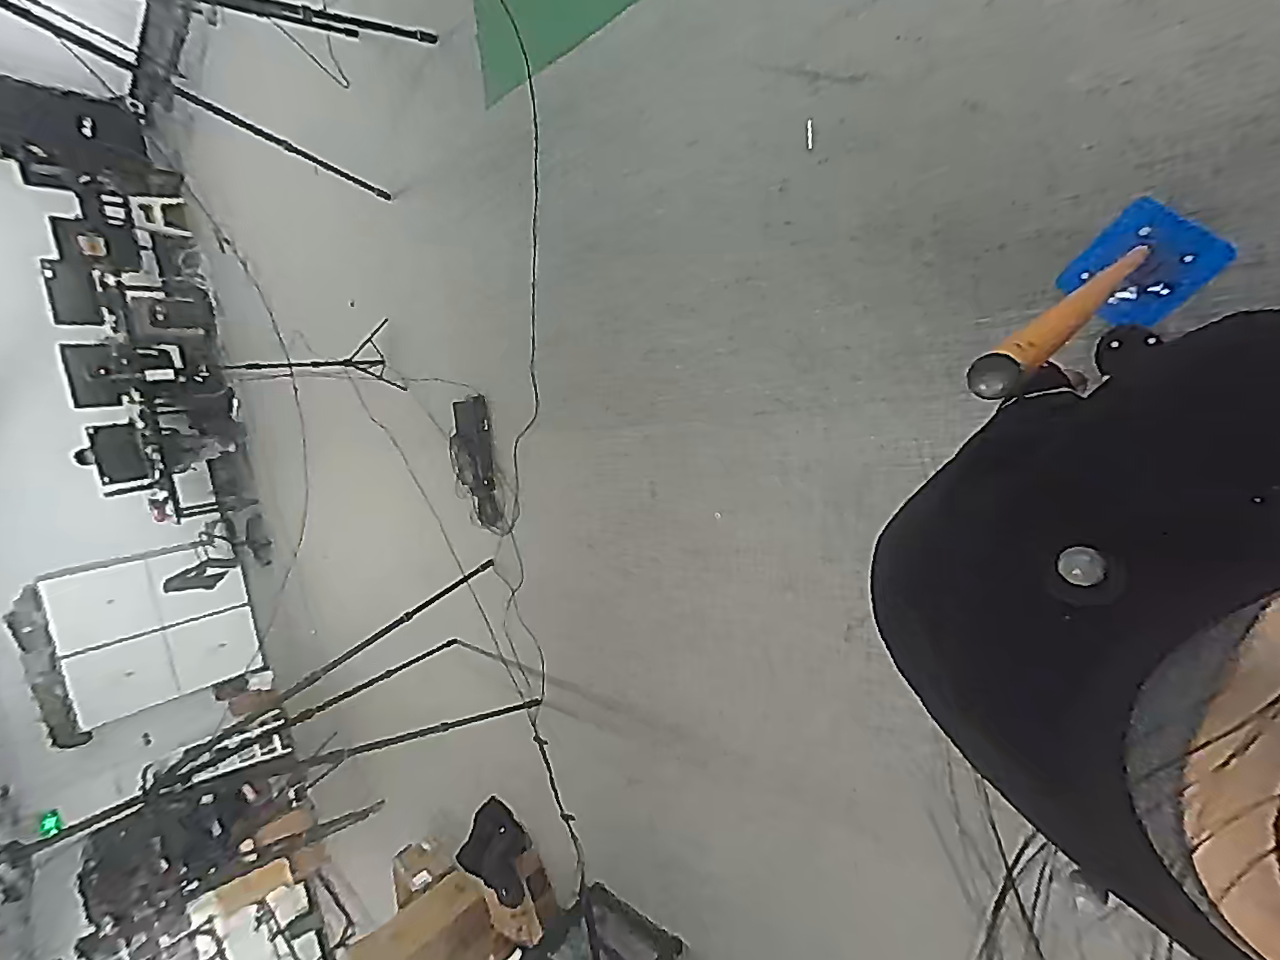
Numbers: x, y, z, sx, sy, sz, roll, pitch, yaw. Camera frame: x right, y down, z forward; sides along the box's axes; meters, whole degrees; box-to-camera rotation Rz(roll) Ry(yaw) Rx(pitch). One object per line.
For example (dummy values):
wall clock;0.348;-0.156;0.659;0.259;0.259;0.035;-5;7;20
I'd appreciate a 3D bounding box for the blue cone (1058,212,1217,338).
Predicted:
blue cone;0.863;-0.364;0.947;0.192;0.380;0.193;48;129;21
